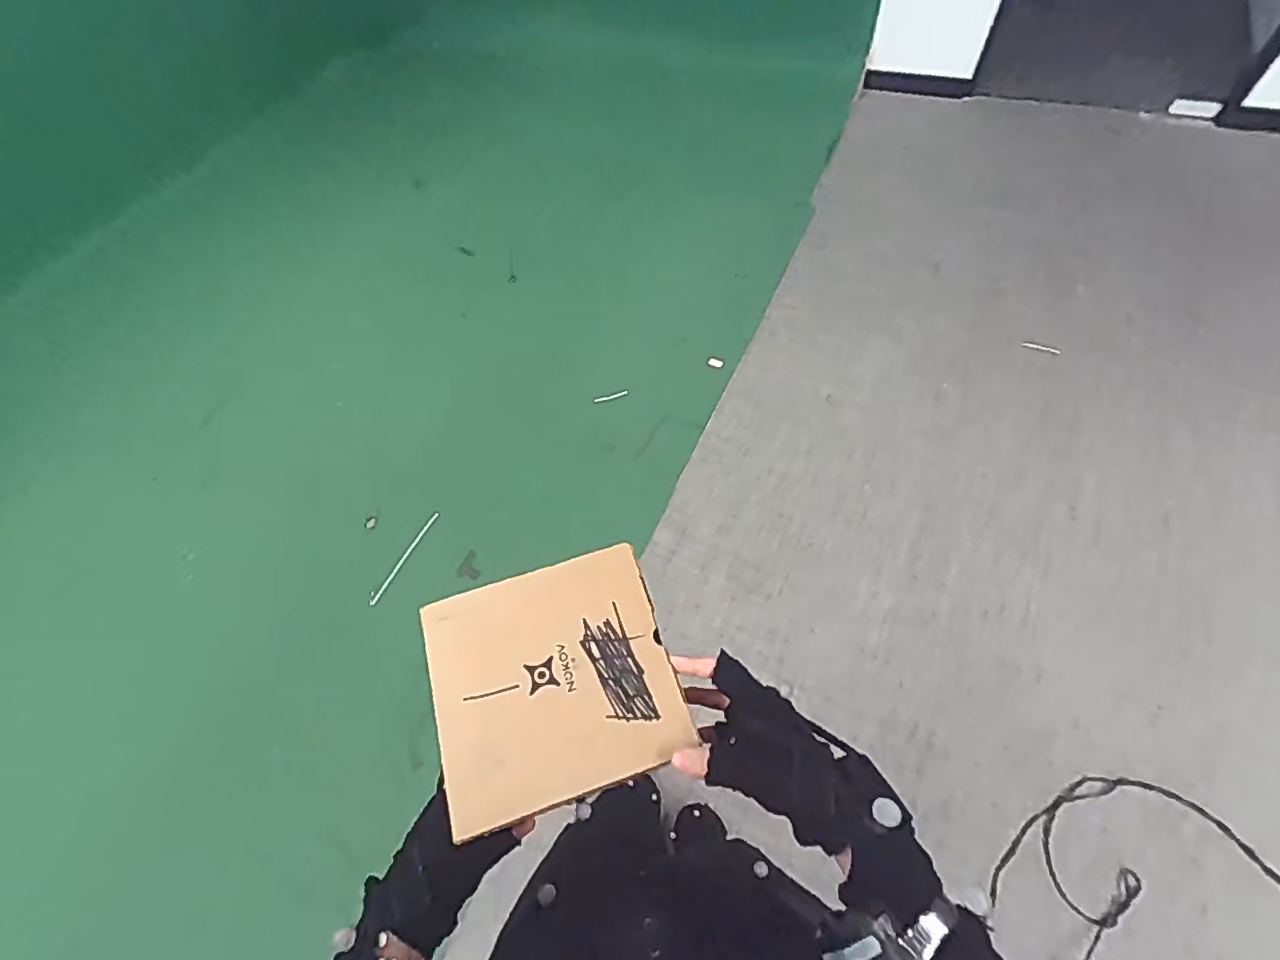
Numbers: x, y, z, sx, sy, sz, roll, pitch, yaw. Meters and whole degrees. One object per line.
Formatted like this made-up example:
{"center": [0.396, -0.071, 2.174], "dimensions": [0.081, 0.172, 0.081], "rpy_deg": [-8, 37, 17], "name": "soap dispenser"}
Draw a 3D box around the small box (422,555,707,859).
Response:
{"center": [-0.062, 0.187, 0.459], "dimensions": [0.179, 0.176, 0.168], "rpy_deg": [-16, 62, -10], "name": "small box"}
